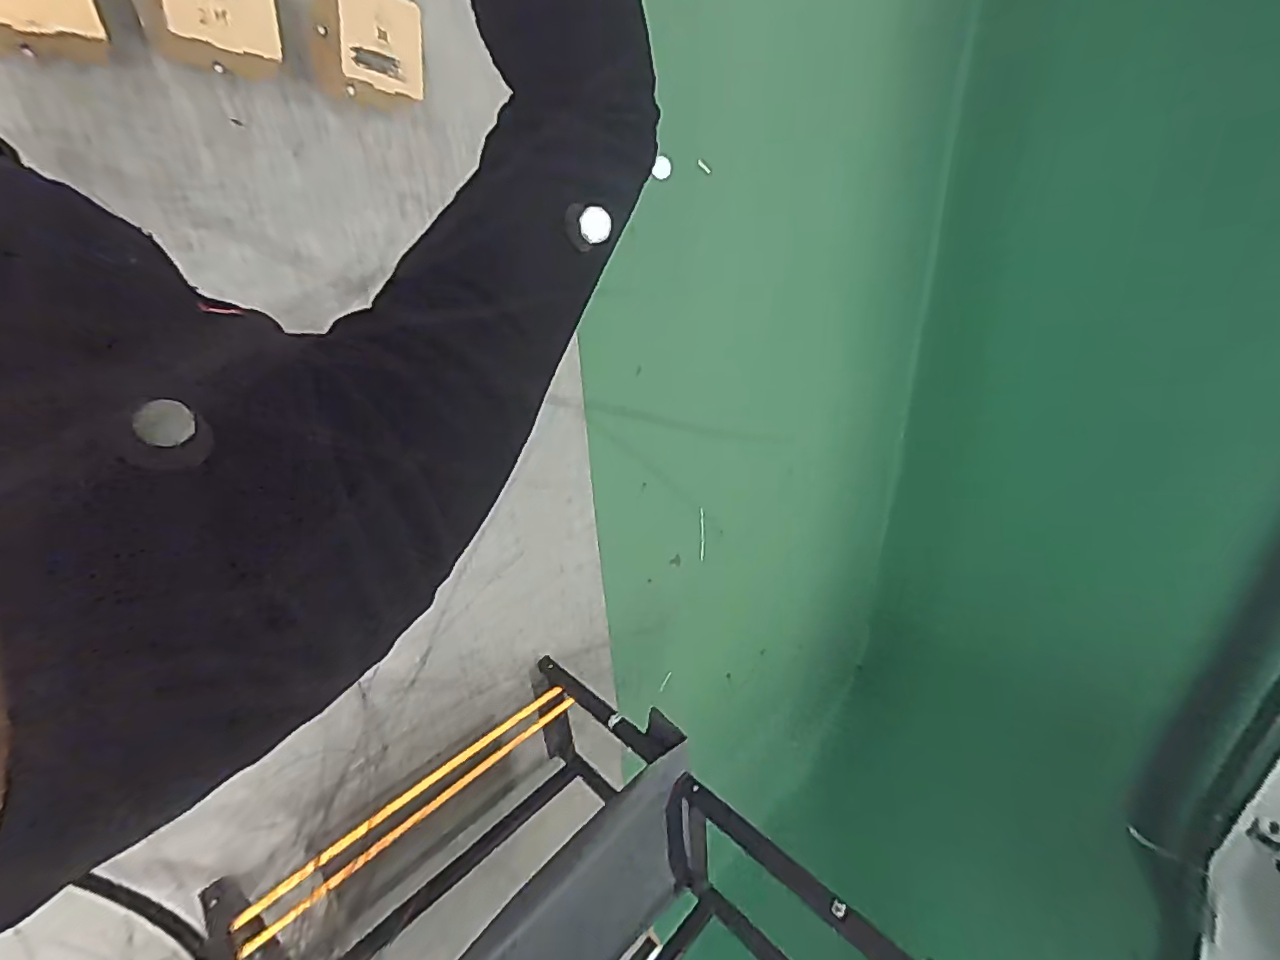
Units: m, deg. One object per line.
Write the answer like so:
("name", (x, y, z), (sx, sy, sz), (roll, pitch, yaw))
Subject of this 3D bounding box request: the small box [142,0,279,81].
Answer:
("small box", (-0.776, -0.852, 0.966), (0.168, 0.176, 0.179), (-16, 118, -42))

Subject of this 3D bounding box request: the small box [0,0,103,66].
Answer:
("small box", (-0.958, -0.758, 0.812), (0.168, 0.176, 0.179), (-26, 124, -38))
